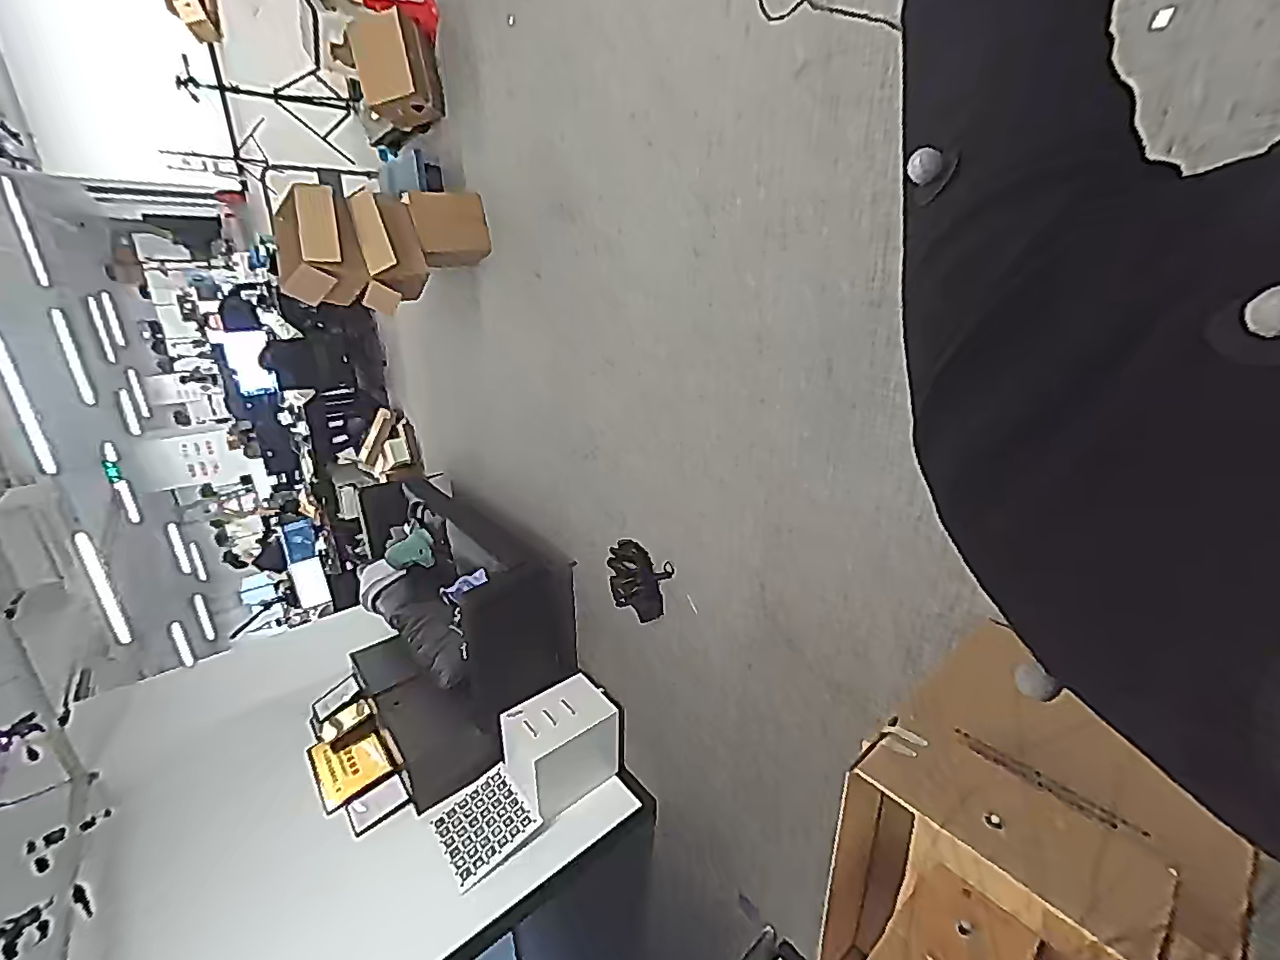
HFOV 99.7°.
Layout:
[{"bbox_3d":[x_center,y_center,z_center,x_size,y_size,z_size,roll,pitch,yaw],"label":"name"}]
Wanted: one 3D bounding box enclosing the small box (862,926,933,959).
[{"bbox_3d":[0.394,0.830,0.792,0.168,0.176,0.179,19,118,47],"label":"small box"}]
